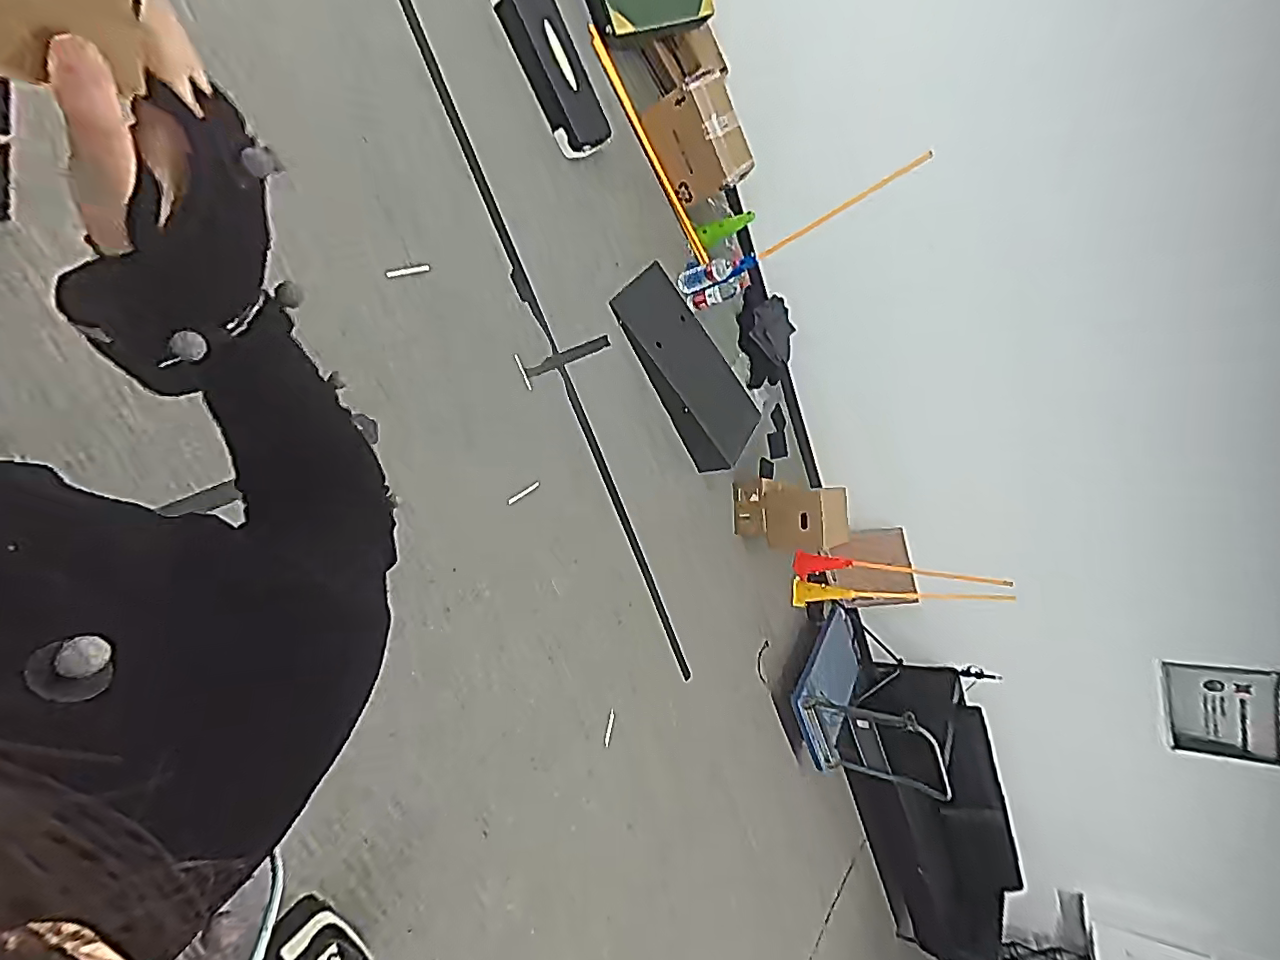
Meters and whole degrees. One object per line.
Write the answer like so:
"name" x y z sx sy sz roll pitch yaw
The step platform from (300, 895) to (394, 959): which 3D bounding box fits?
"step platform" -0.832 1.250 1.077 0.684 0.204 0.286 -31 108 -49
